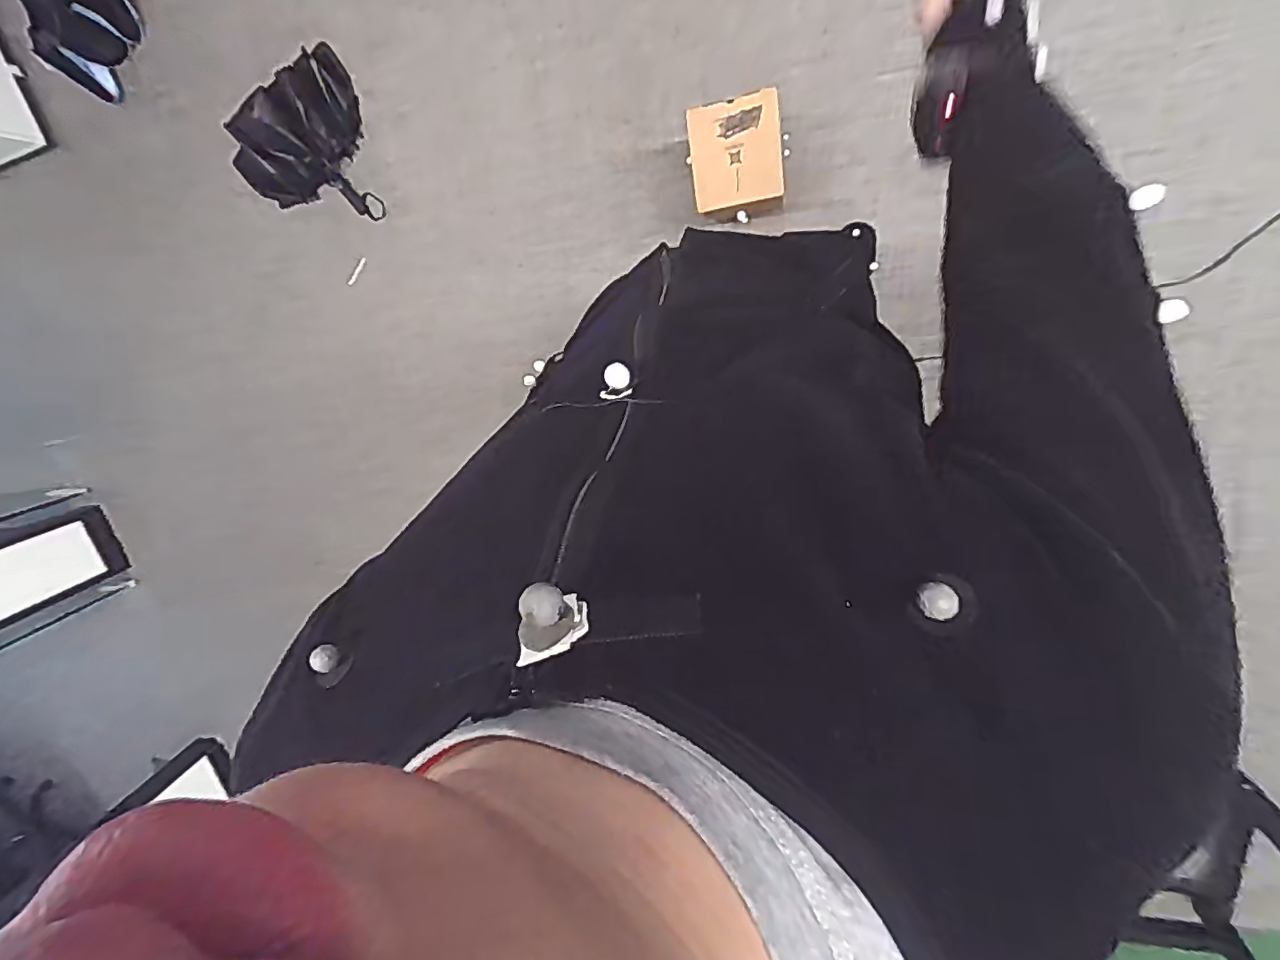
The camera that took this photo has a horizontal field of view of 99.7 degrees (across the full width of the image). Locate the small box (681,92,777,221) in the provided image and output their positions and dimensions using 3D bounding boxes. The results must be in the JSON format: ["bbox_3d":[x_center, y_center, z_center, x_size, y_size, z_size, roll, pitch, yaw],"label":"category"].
[{"bbox_3d":[0.182,-0.629,1.075,0.168,0.176,0.179,-4,111,16],"label":"small box"}]
